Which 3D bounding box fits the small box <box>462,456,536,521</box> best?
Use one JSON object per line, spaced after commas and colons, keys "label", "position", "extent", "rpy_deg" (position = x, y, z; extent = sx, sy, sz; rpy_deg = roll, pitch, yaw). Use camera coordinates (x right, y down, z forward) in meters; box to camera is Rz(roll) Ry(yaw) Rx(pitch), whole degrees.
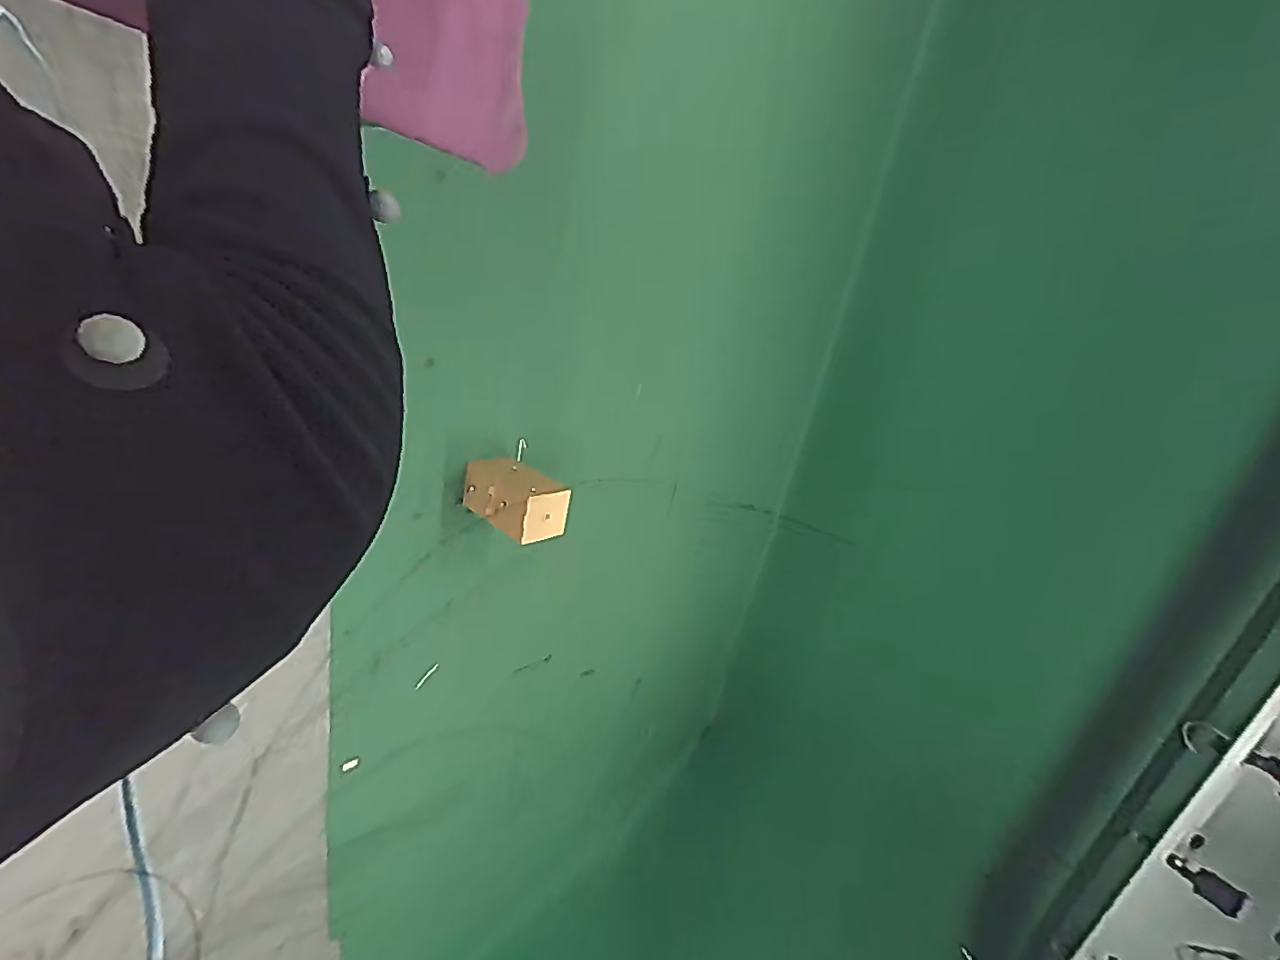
{"label": "small box", "position": [-0.482, 0.022, 1.861], "extent": [0.179, 0.176, 0.168], "rpy_deg": [-9, 118, -49]}

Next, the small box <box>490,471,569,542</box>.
{"label": "small box", "position": [-0.361, 0.080, 1.768], "extent": [0.179, 0.176, 0.168], "rpy_deg": [-11, 120, -48]}
